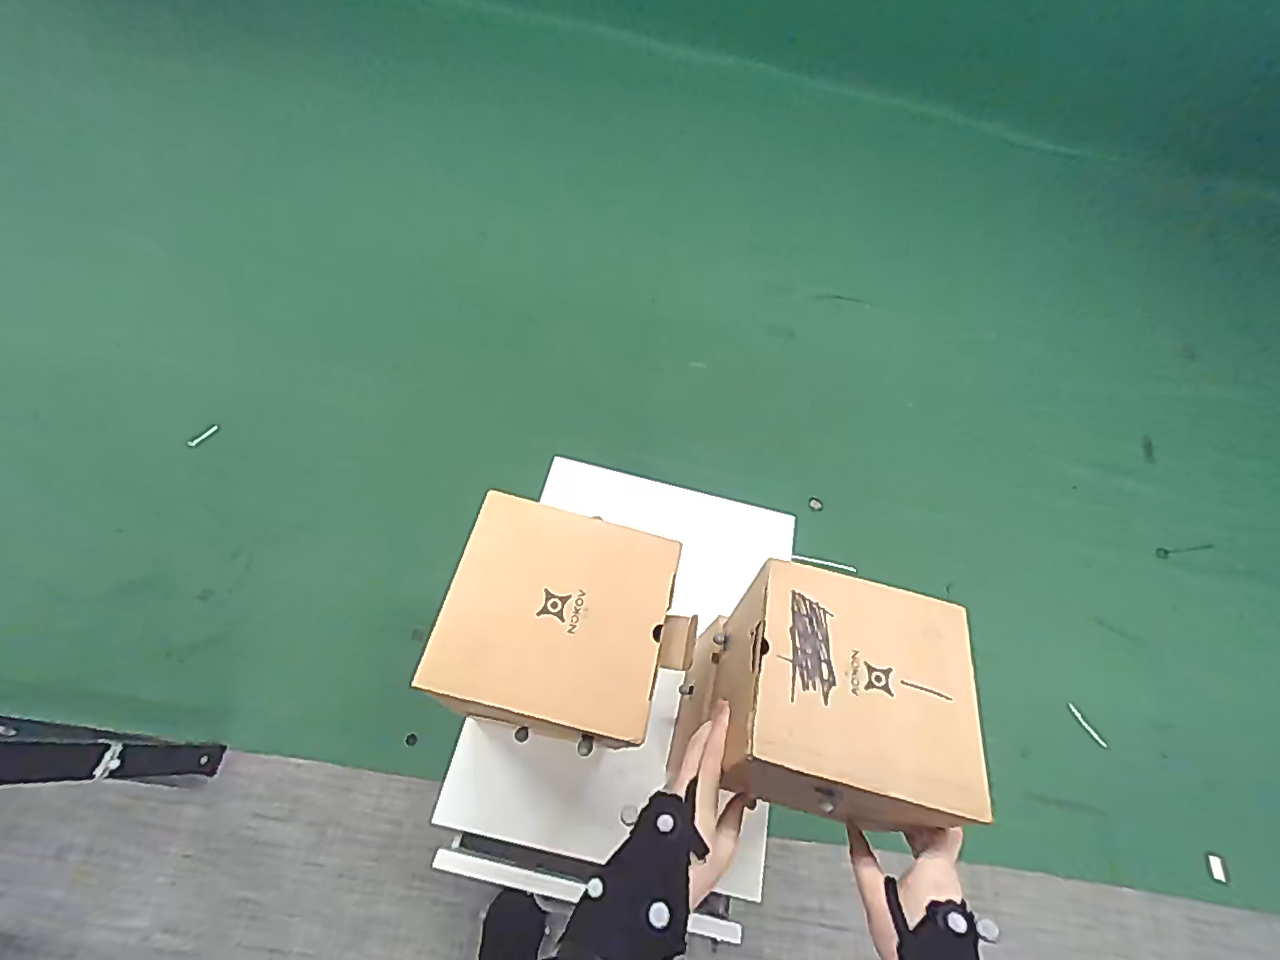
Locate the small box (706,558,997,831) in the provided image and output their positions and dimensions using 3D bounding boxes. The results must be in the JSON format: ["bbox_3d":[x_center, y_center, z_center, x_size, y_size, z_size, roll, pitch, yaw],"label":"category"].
[{"bbox_3d":[0.167,0.196,0.478,0.179,0.176,0.168,15,55,2],"label":"small box"}]

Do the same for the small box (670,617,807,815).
[{"bbox_3d":[0.142,0.279,0.630,0.179,0.176,0.168,16,62,1],"label":"small box"}]

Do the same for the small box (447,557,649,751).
[{"bbox_3d":[-0.099,0.211,0.632,0.179,0.176,0.168,13,61,-2],"label":"small box"}]
